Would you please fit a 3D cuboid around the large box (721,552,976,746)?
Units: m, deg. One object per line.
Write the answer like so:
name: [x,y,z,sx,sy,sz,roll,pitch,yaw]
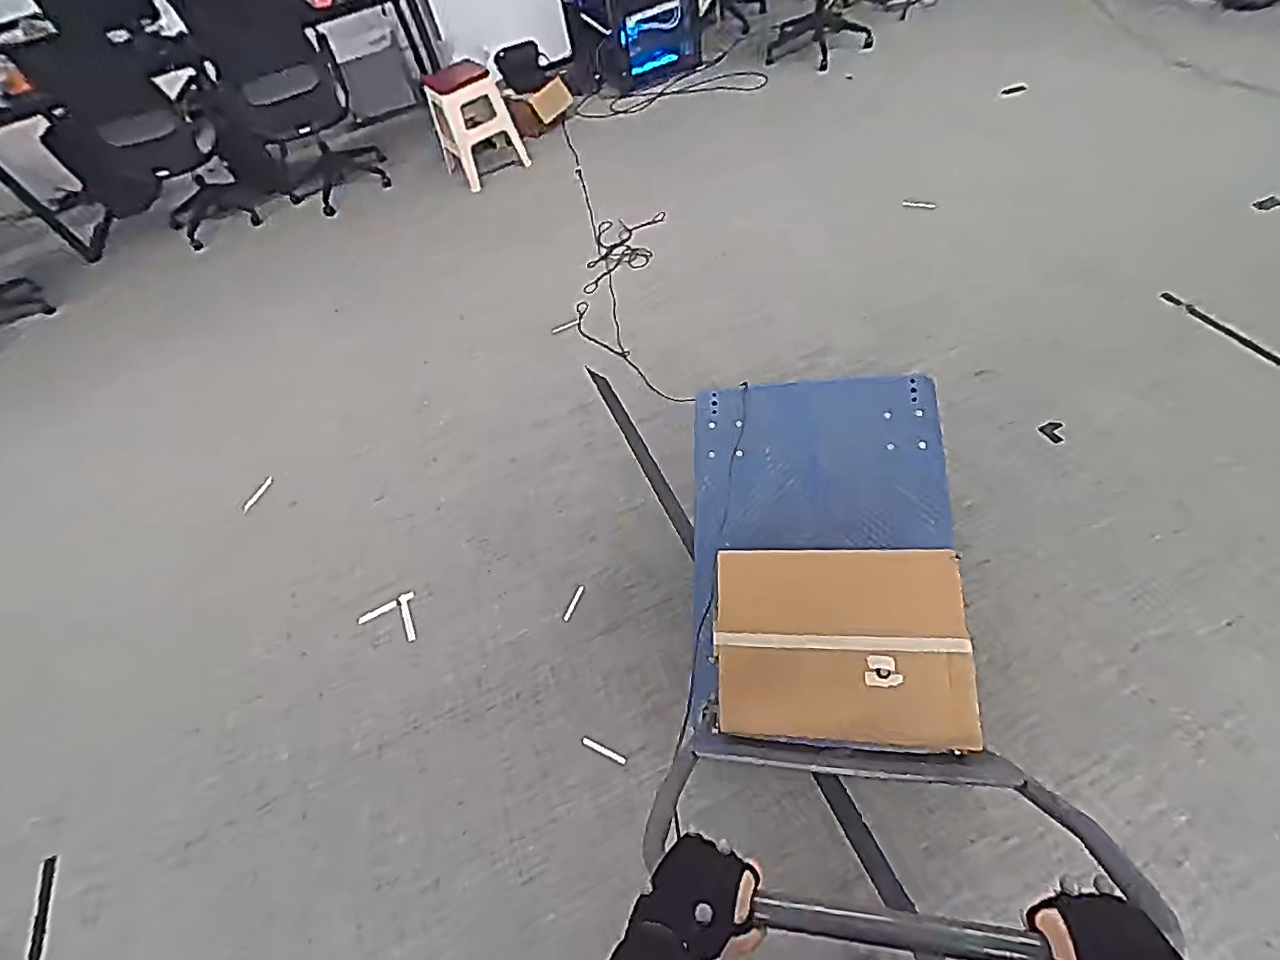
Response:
large box: [0.375,0.323,1.075,0.408,0.320,0.320,-2,74,13]
